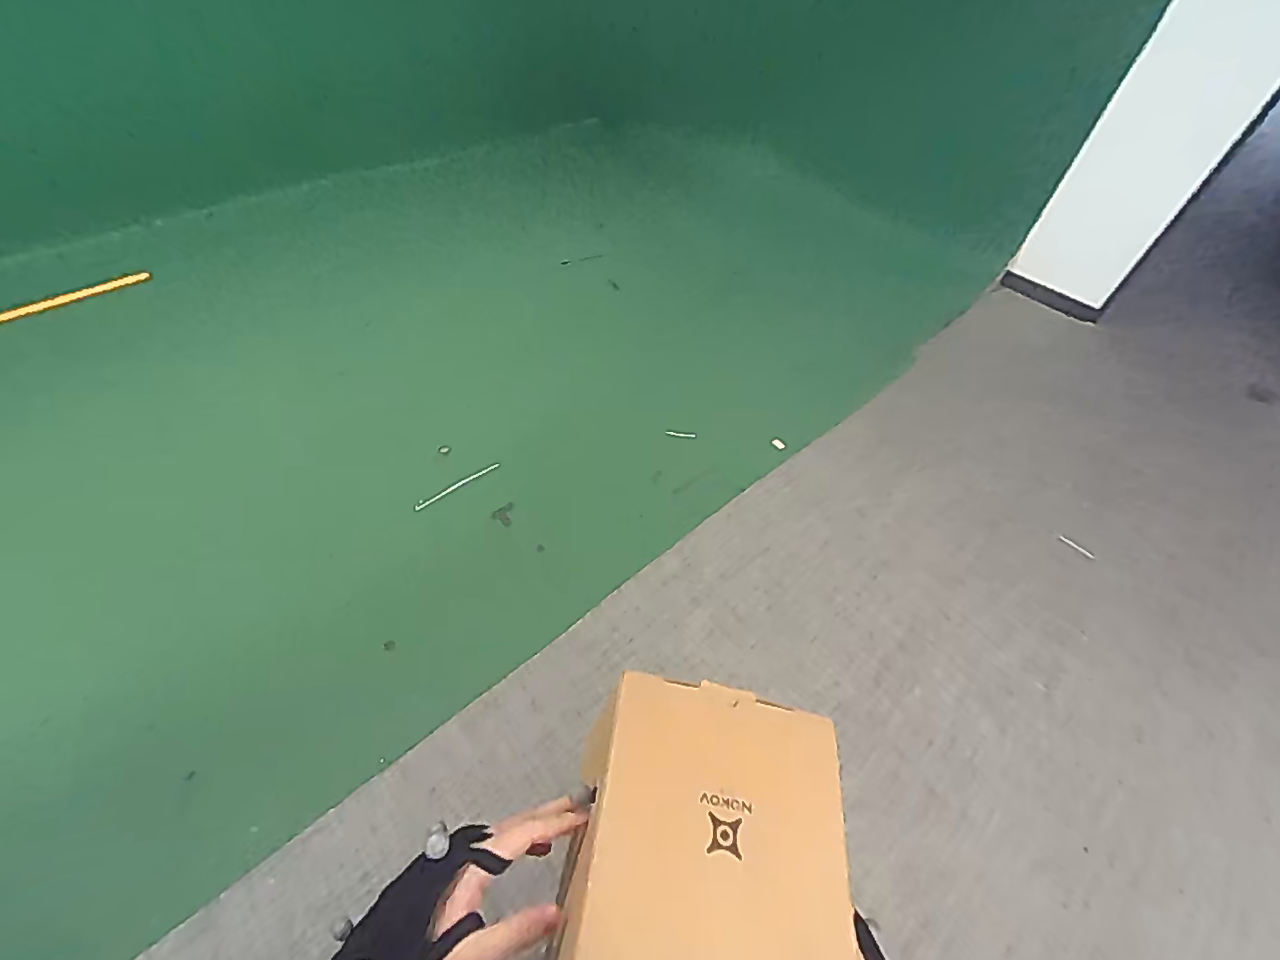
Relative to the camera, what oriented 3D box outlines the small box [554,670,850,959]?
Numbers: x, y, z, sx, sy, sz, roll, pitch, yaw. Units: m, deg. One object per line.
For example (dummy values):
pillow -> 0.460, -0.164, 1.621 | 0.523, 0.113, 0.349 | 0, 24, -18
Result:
small box -> 0.036, 0.276, 0.409 | 0.168, 0.176, 0.179 | 15, 47, -4
